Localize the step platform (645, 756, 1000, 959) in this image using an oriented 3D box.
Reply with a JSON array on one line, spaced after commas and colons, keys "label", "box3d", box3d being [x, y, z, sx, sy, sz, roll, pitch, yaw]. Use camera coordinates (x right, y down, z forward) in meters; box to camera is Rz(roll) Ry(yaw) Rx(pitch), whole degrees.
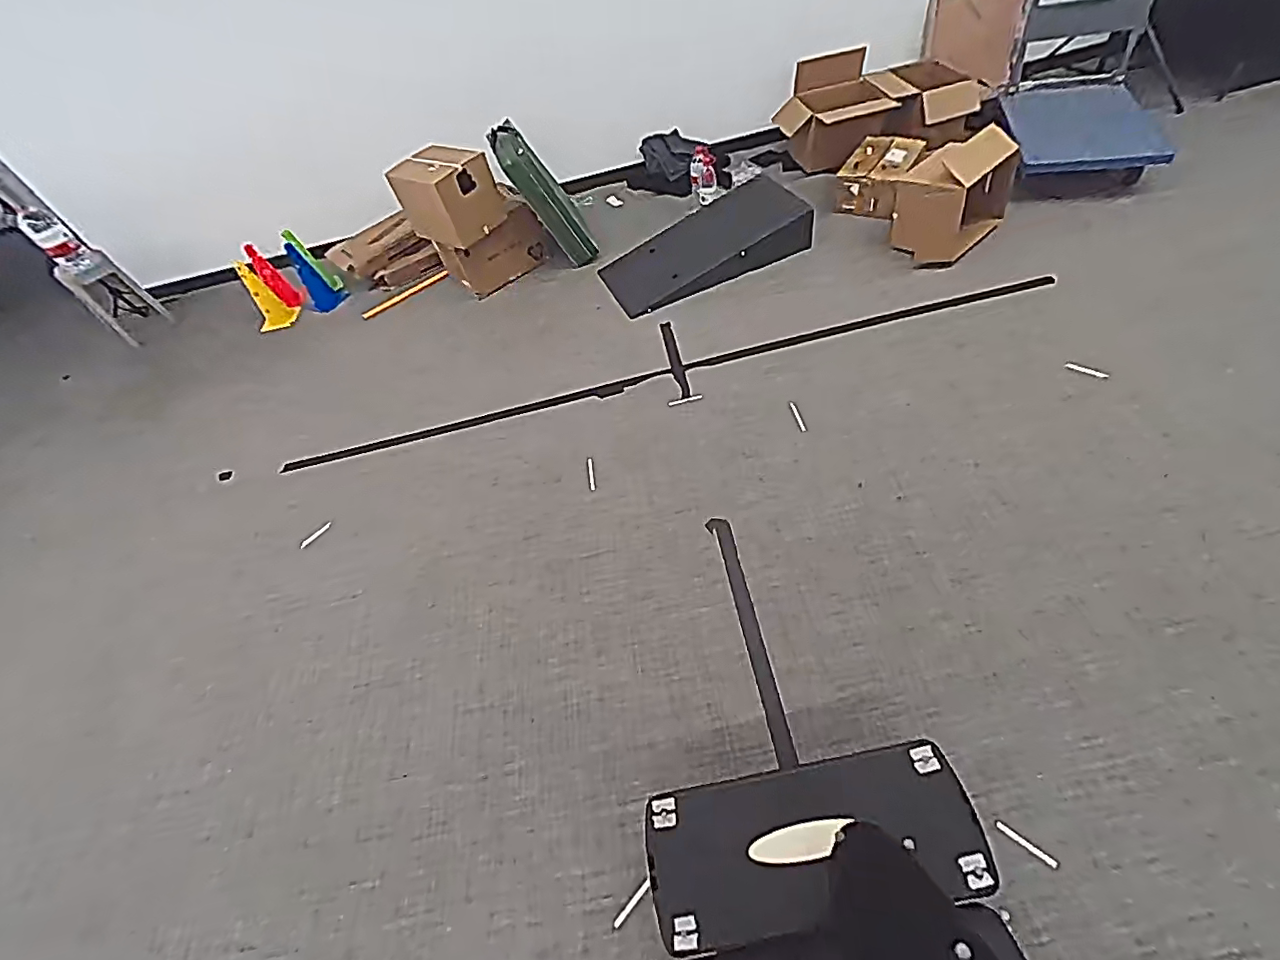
[{"label": "step platform", "box3d": [0.352, 0.810, 1.142, 0.684, 0.204, 0.286, -14, 51, 1]}]
